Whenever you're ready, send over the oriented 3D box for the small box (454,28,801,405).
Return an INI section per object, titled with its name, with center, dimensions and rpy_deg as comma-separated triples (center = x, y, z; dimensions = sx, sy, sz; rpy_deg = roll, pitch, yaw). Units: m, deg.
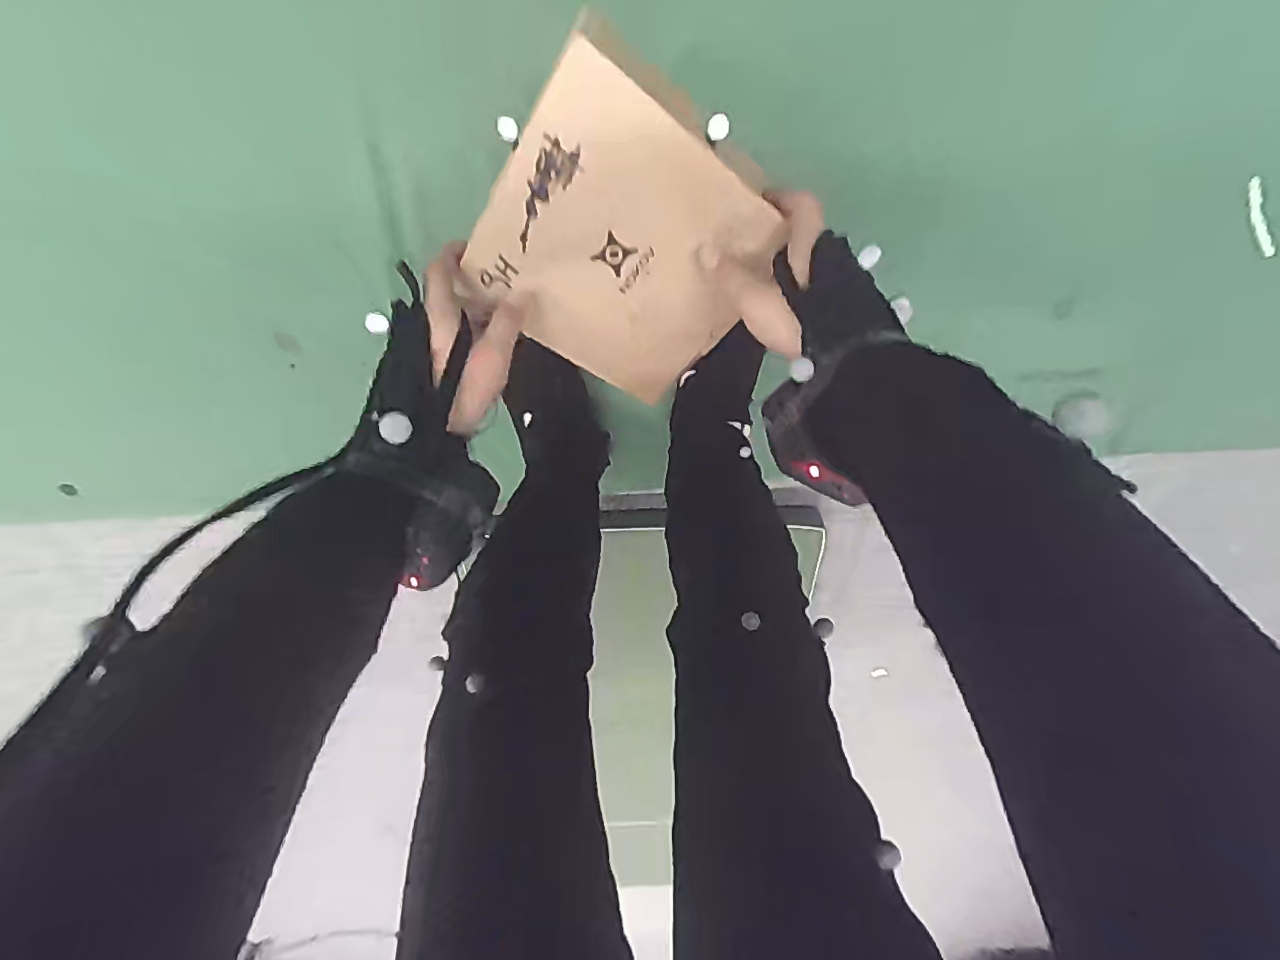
[small box]
center = -0.012, -0.196, 0.412
dimensions = 0.179, 0.176, 0.168
rpy_deg = 26, 129, -27
